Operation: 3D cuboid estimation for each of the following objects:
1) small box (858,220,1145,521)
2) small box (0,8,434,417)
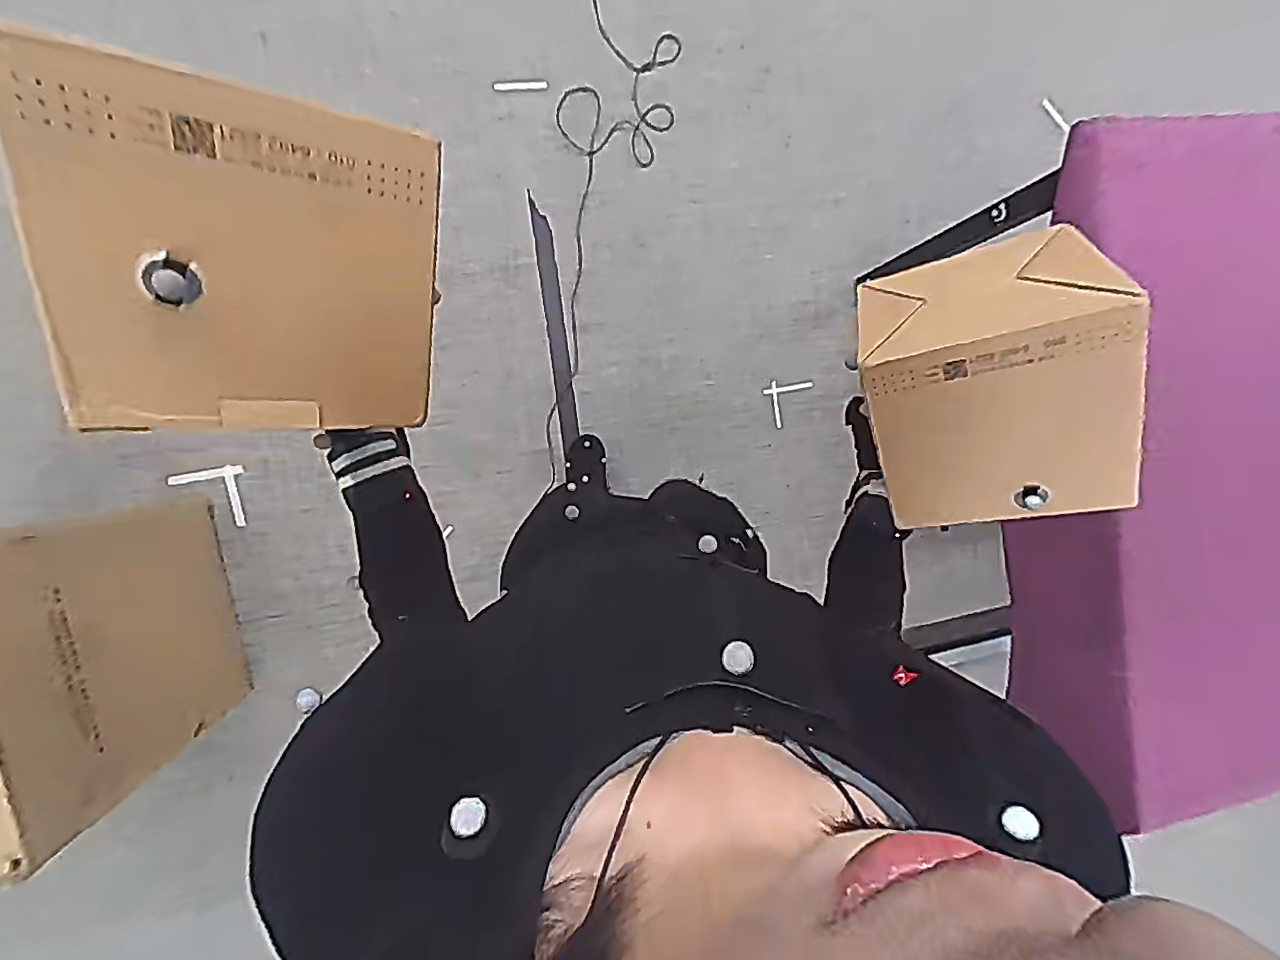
[{"bbox_3d":[0.287,-0.092,0.452,0.168,0.179,0.176,-10,123,29],"label":"small box"},{"bbox_3d":[-0.230,-0.148,0.329,0.168,0.179,0.176,-4,120,-34],"label":"small box"}]
